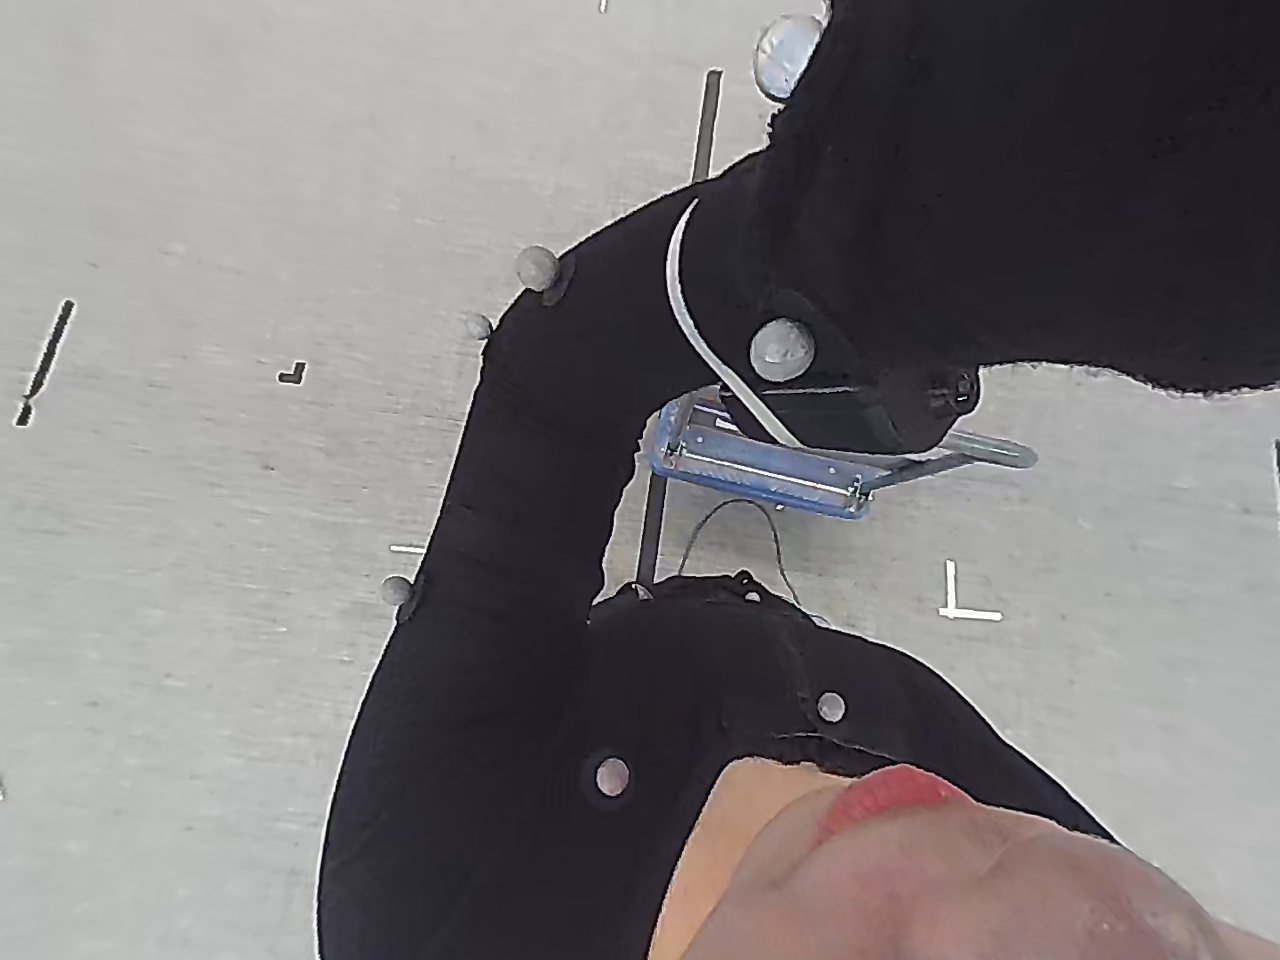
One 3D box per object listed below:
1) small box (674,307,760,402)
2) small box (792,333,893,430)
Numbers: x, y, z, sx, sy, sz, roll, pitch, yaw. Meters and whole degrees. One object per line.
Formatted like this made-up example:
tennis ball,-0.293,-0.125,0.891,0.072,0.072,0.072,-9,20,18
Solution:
small box,0.188,-0.310,1.365,0.179,0.176,0.168,11,79,0
small box,0.497,-0.238,1.352,0.179,0.176,0.168,17,80,3
